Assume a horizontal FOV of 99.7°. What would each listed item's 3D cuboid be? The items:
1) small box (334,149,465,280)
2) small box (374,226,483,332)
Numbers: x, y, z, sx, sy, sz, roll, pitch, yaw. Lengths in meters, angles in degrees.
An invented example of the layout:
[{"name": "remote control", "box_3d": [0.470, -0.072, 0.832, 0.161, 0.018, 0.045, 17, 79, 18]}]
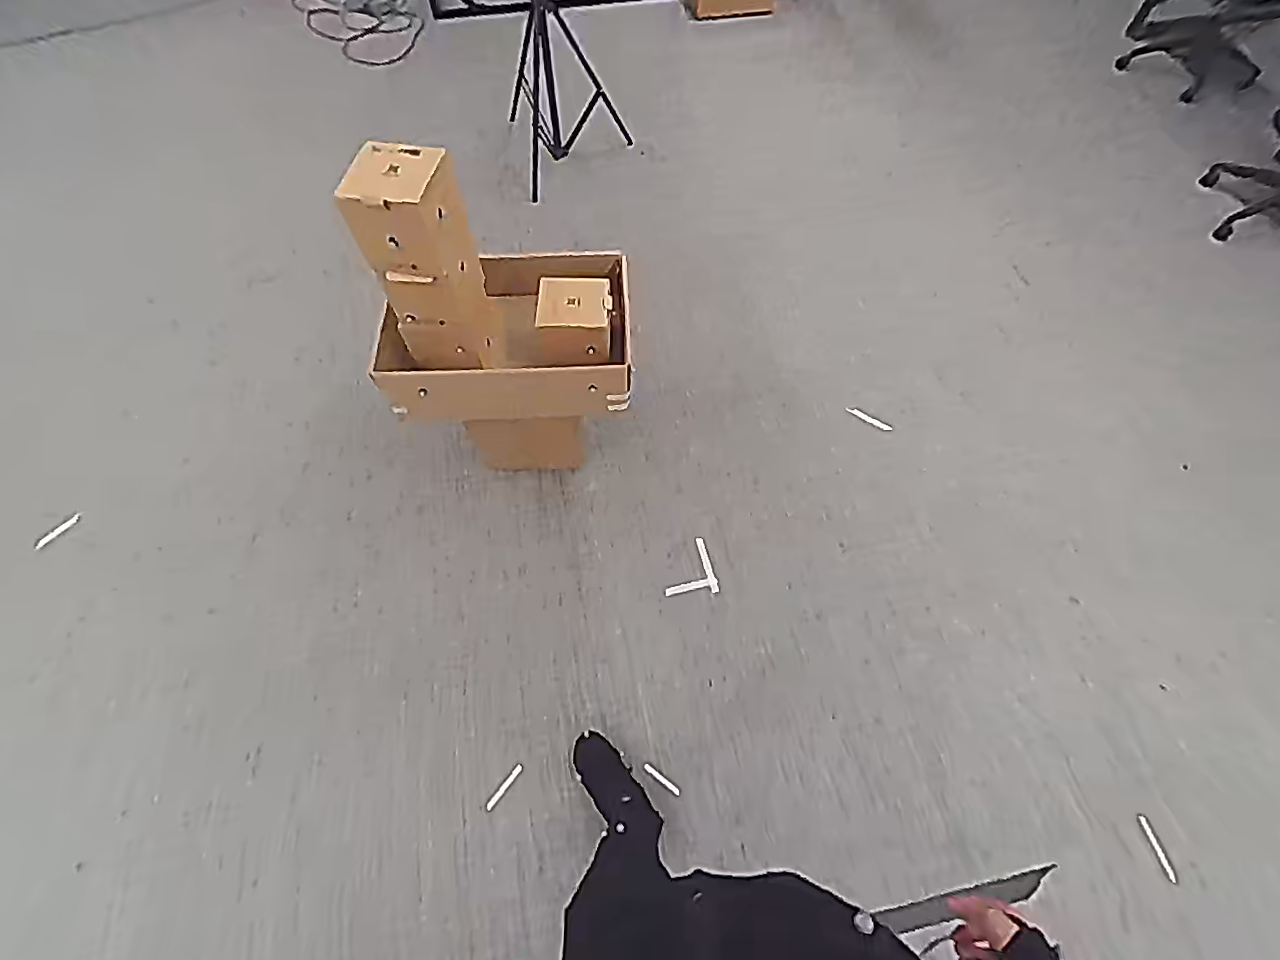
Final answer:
[{"name": "small box", "box_3d": [-0.474, -0.534, 1.101, 0.168, 0.176, 0.179, 8, 63, 3]}, {"name": "small box", "box_3d": [-0.477, -0.463, 1.250, 0.168, 0.176, 0.179, 4, 62, 2]}]
